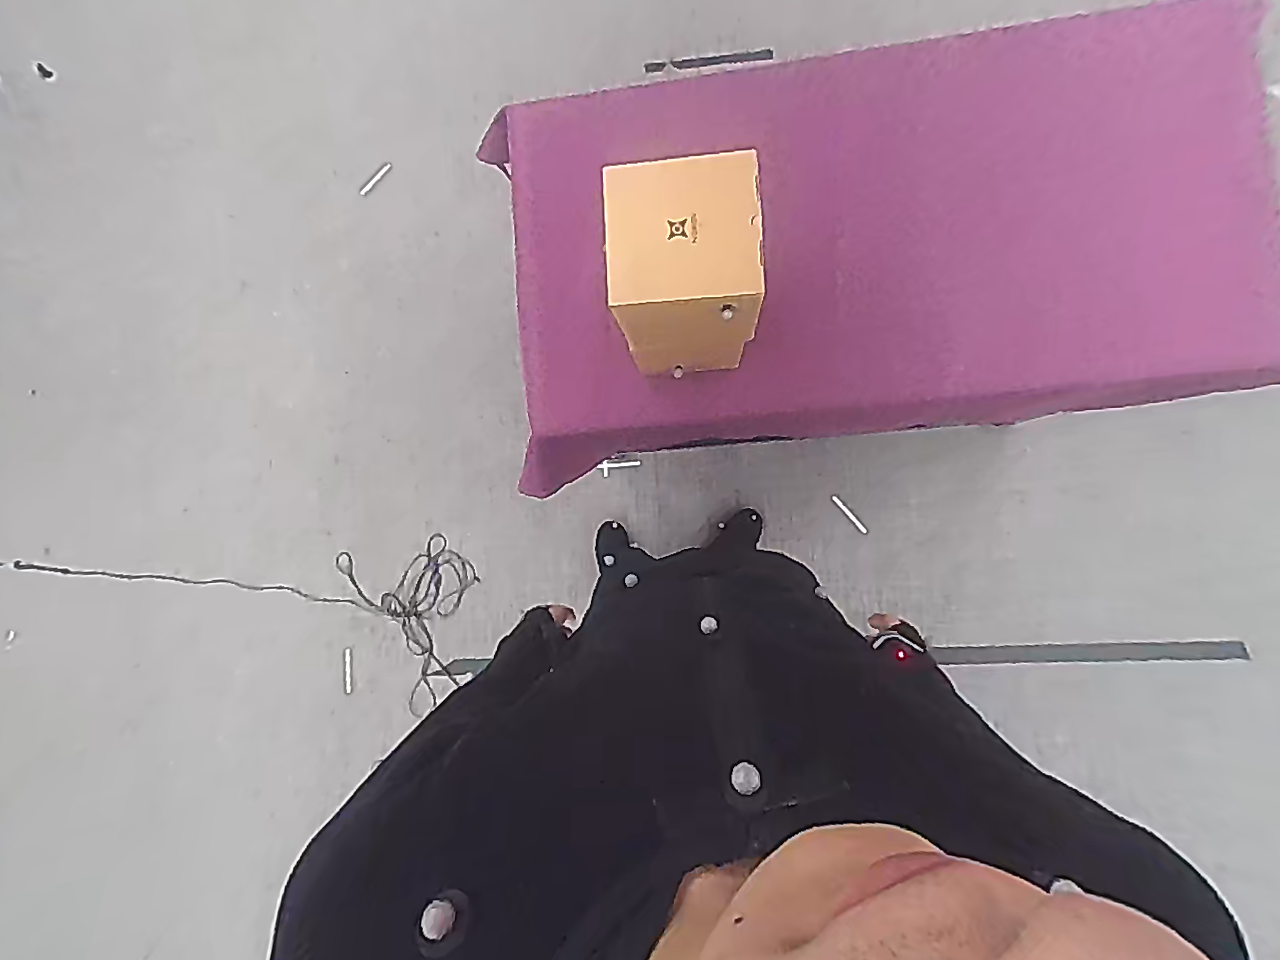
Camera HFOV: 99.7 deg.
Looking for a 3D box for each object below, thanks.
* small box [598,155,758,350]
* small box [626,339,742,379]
[{"bbox_3d":[0.051,-0.268,0.679,0.179,0.176,0.168,-3,87,7],"label":"small box"},{"bbox_3d":[0.066,-0.267,0.841,0.168,0.176,0.179,-3,88,7],"label":"small box"}]
